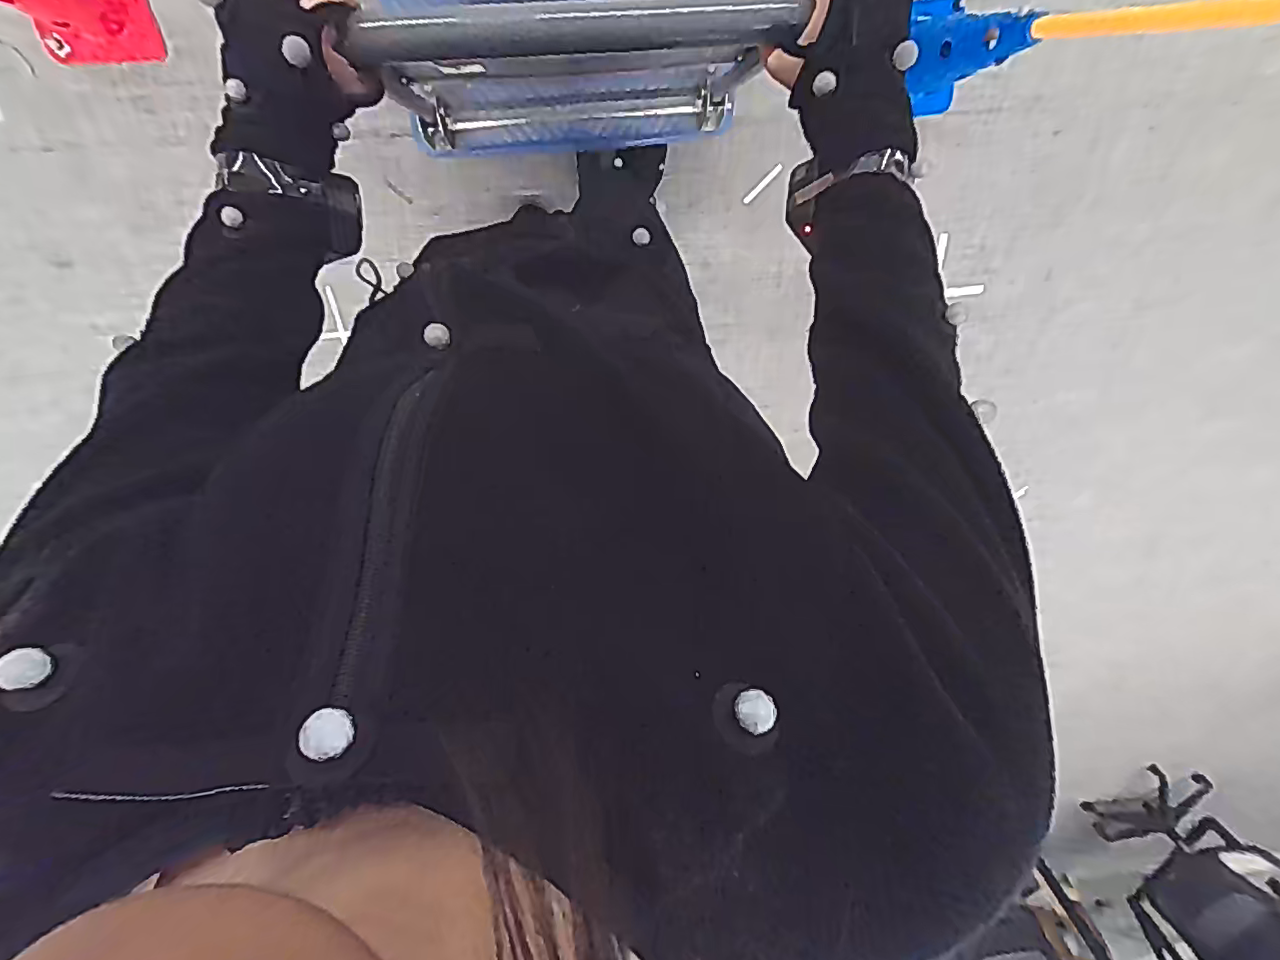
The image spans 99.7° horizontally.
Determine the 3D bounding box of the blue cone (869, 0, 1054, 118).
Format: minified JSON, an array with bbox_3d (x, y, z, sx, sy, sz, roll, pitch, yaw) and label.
[{"bbox_3d":[0.592,-0.793,0.985,0.193,0.380,0.192,-8,120,-3],"label":"blue cone"}]
